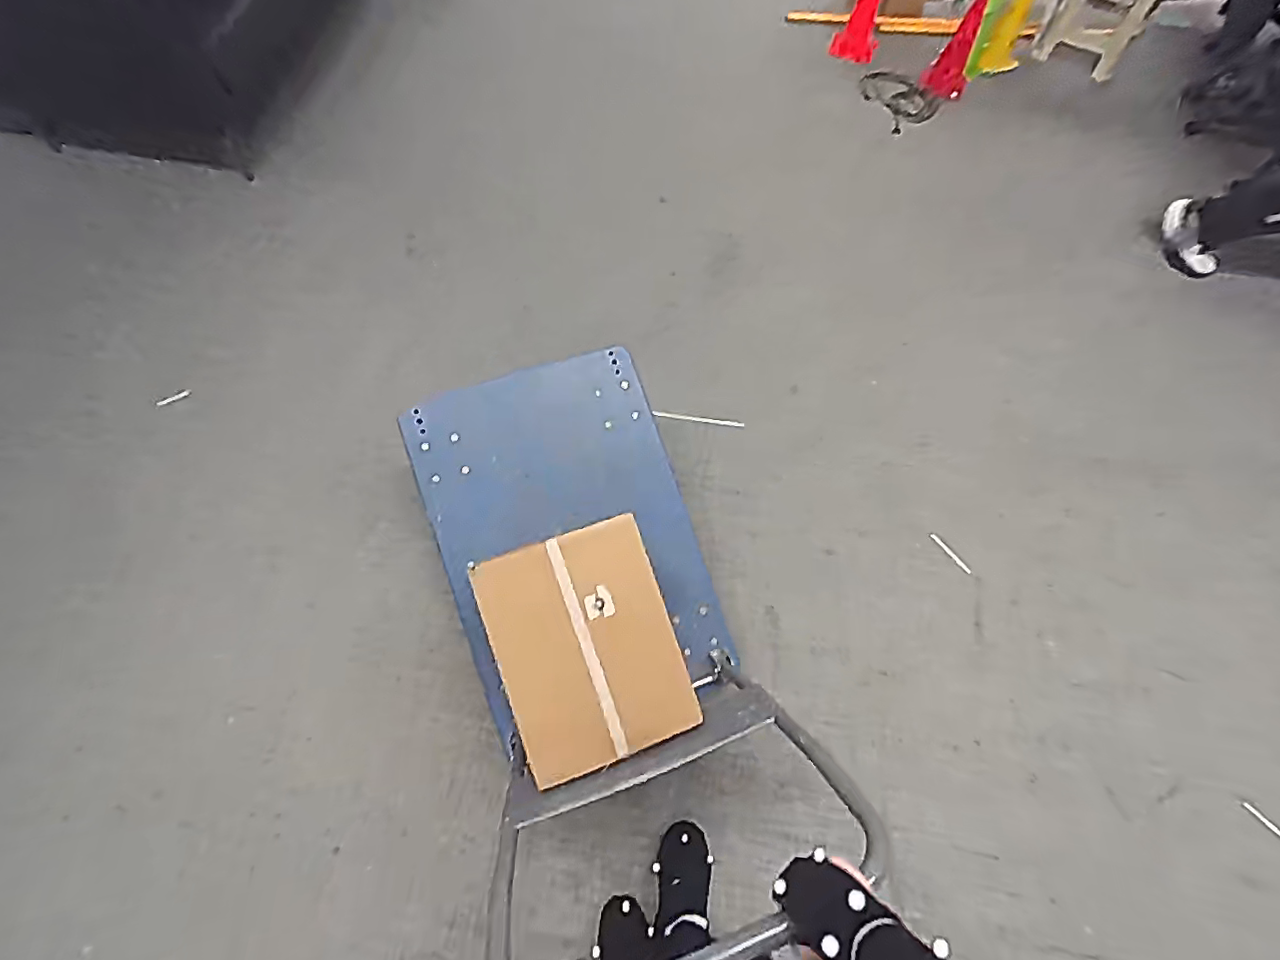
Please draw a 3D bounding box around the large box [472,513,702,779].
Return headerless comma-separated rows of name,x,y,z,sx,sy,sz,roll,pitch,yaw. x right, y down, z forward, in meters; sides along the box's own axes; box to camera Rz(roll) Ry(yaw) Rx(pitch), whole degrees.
large box,-0.109,0.313,1.132,0.320,0.320,0.408,-19,86,-9
